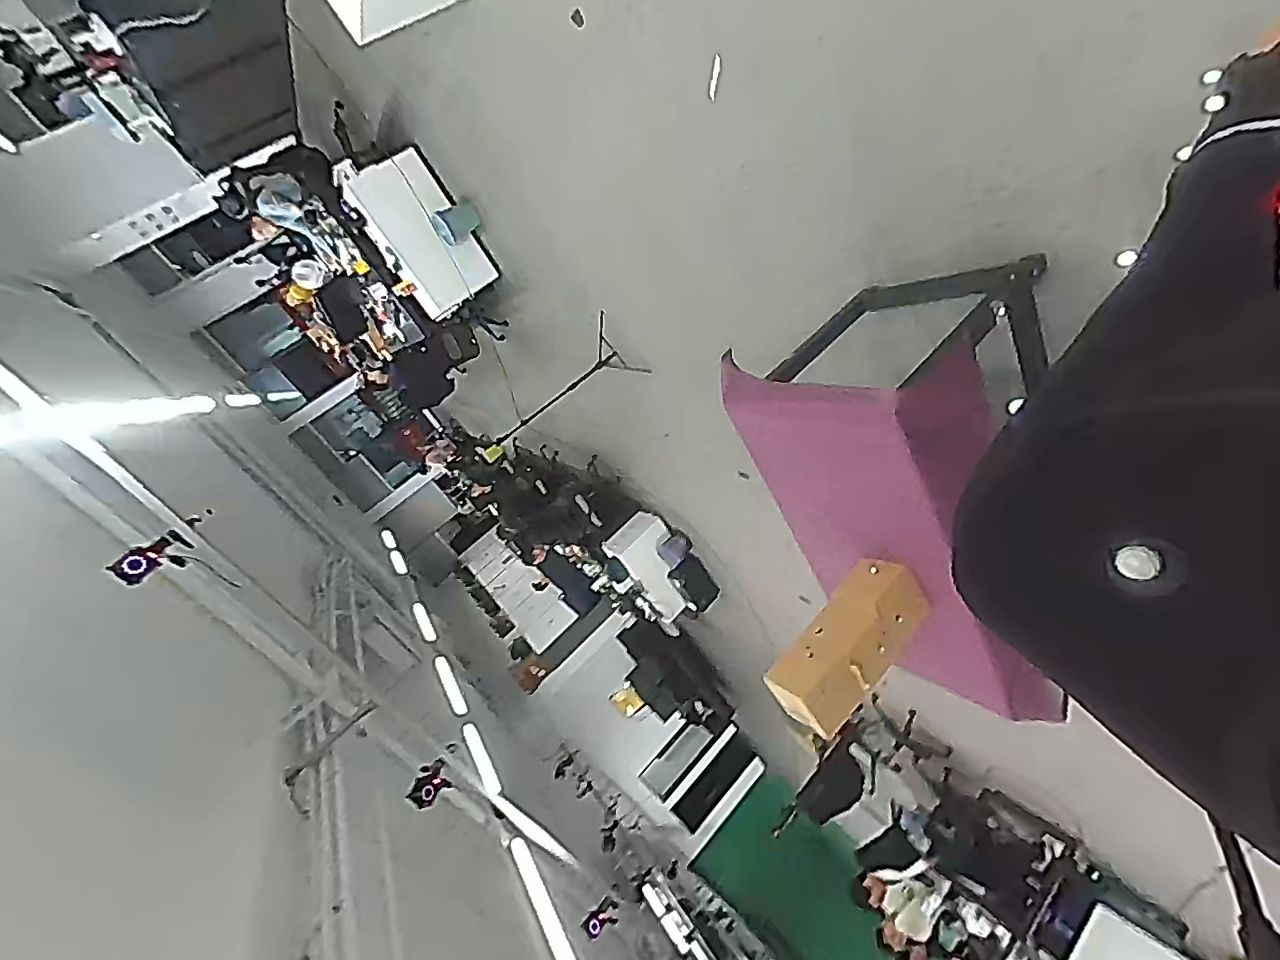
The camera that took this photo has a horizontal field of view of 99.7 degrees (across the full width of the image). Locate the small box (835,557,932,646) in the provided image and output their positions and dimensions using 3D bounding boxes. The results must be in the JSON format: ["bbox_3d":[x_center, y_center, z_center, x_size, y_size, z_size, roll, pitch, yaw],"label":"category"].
[{"bbox_3d":[0.730,0.357,1.614,0.179,0.176,0.168,53,161,-14],"label":"small box"}]

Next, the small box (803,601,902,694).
[{"bbox_3d":[0.622,0.478,1.579,0.168,0.176,0.179,54,161,-20],"label":"small box"}]
